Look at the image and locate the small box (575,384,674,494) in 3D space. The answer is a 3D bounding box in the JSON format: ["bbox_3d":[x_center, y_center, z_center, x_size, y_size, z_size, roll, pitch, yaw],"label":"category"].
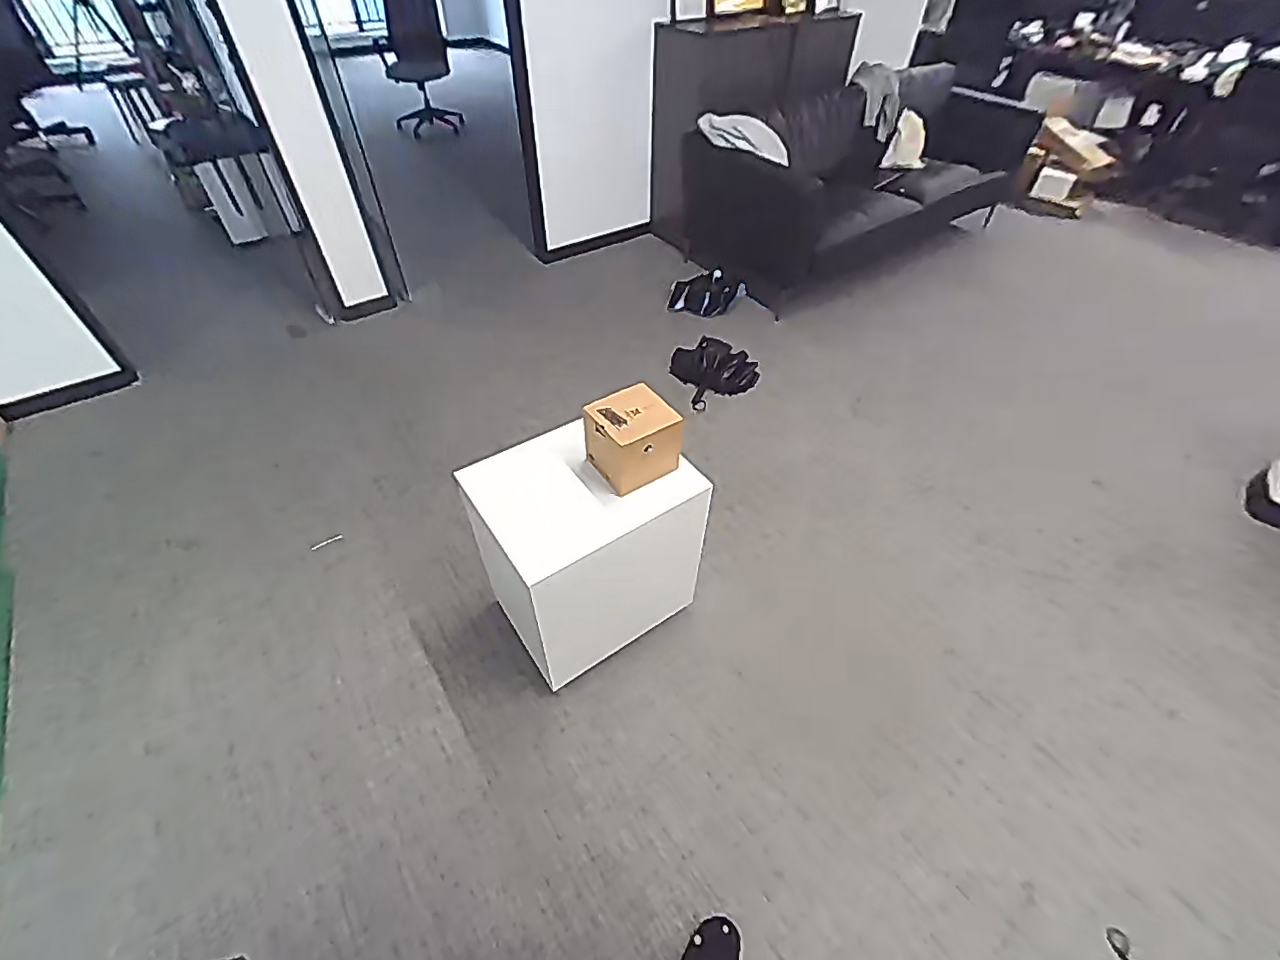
[{"bbox_3d":[-0.040,-0.096,1.295,0.179,0.176,0.168,-25,54,-27],"label":"small box"}]
